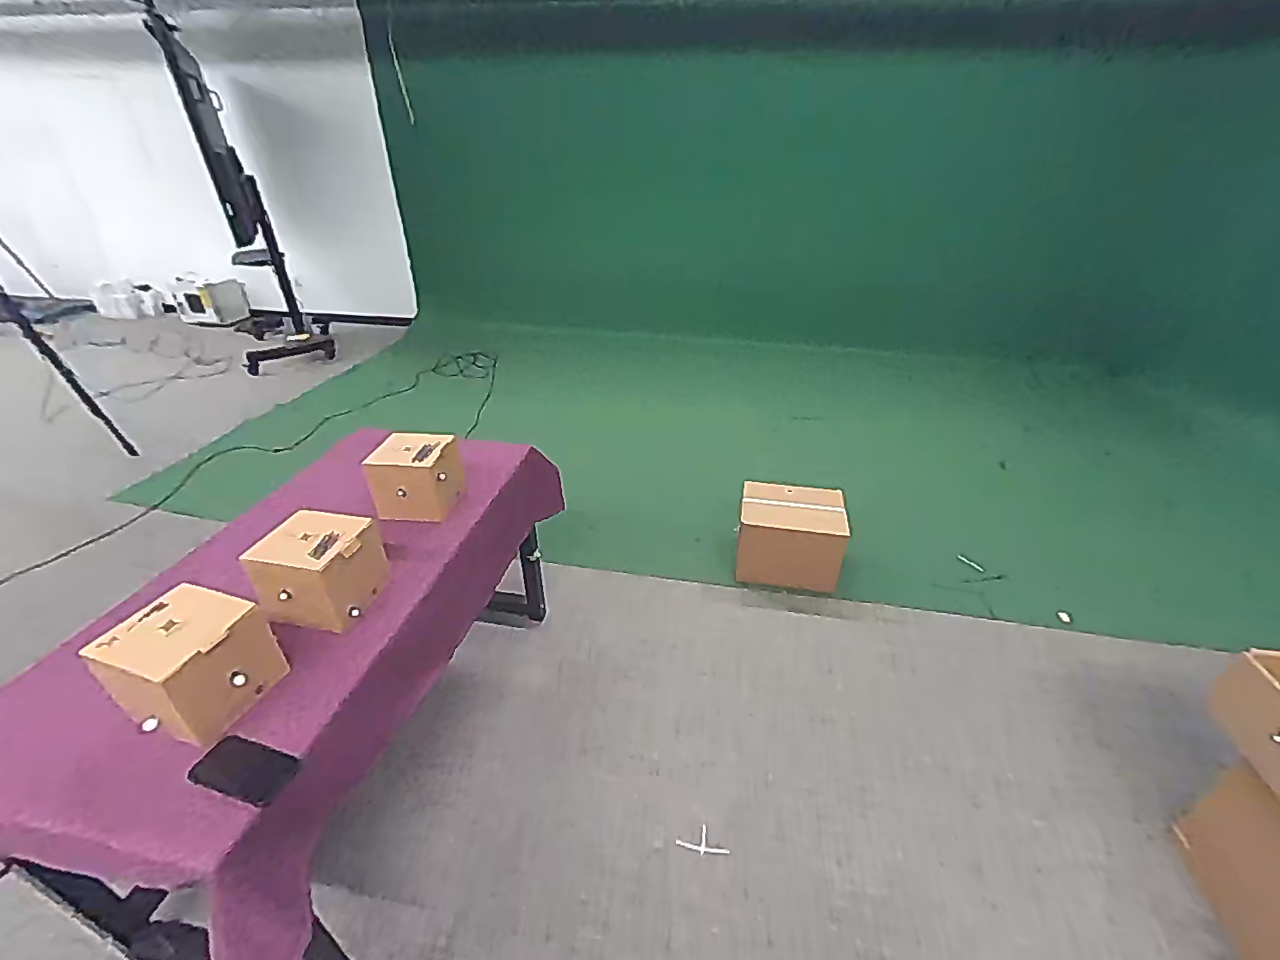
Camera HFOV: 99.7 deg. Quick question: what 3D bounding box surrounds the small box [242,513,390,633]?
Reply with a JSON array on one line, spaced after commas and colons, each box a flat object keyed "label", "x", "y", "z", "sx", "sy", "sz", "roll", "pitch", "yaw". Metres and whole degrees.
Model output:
[{"label": "small box", "x": -0.643, "y": 0.189, "z": 1.102, "sx": 0.179, "sy": 0.176, "sz": 0.168, "roll": 5, "pitch": 32, "yaw": 10}]

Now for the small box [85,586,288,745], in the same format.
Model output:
[{"label": "small box", "x": -0.742, "y": 0.310, "z": 0.907, "sx": 0.179, "sy": 0.176, "sz": 0.168, "roll": 11, "pitch": 33, "yaw": 16}]
